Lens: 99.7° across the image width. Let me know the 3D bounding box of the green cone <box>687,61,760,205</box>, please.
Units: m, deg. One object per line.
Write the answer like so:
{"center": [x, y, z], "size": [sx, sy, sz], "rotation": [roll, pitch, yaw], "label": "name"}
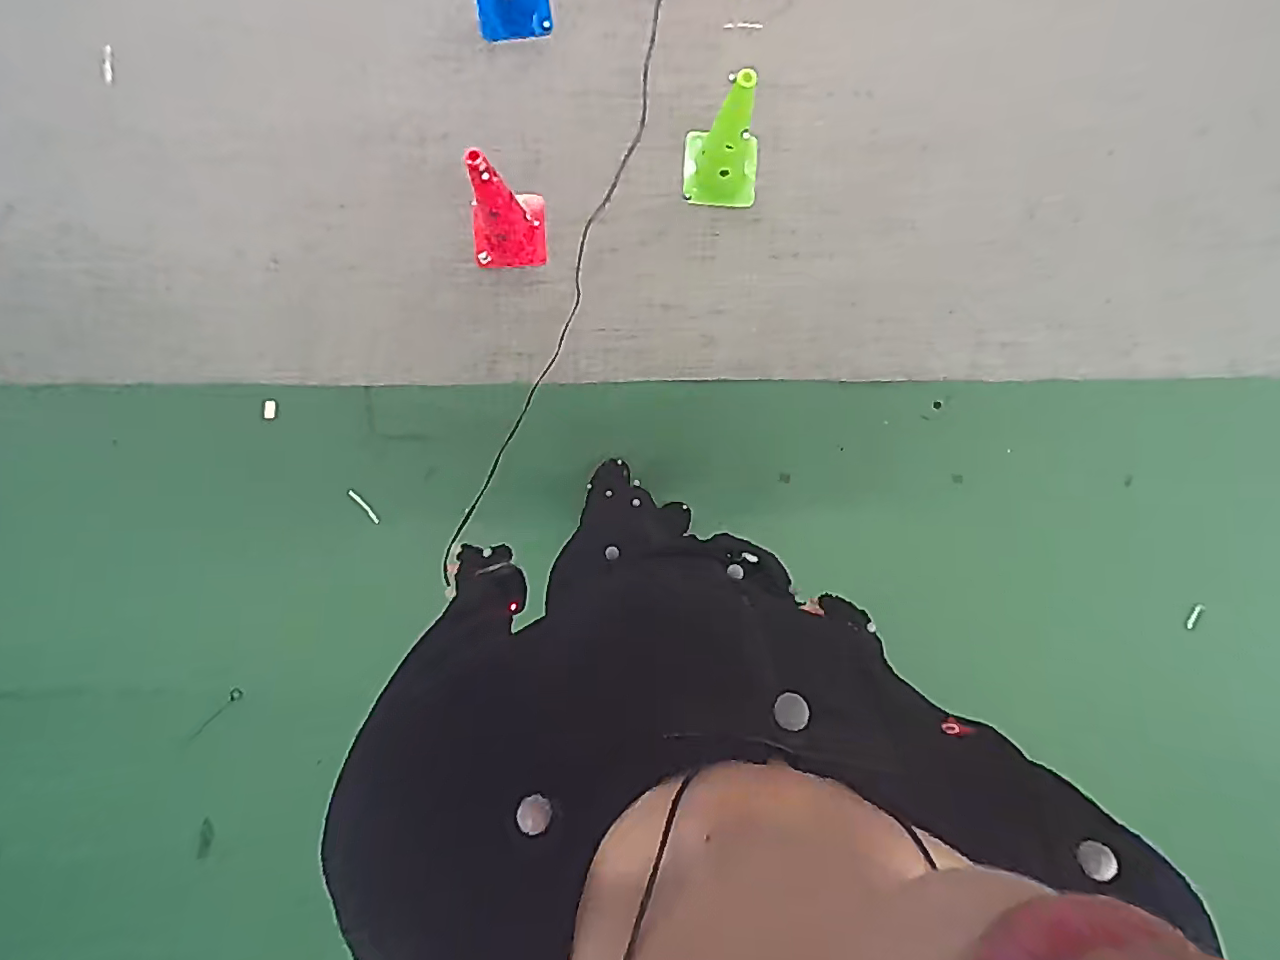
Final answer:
{"center": [0.236, -0.869, 1.332], "size": [0.200, 0.368, 0.202], "rotation": [2, 90, -1], "label": "green cone"}
